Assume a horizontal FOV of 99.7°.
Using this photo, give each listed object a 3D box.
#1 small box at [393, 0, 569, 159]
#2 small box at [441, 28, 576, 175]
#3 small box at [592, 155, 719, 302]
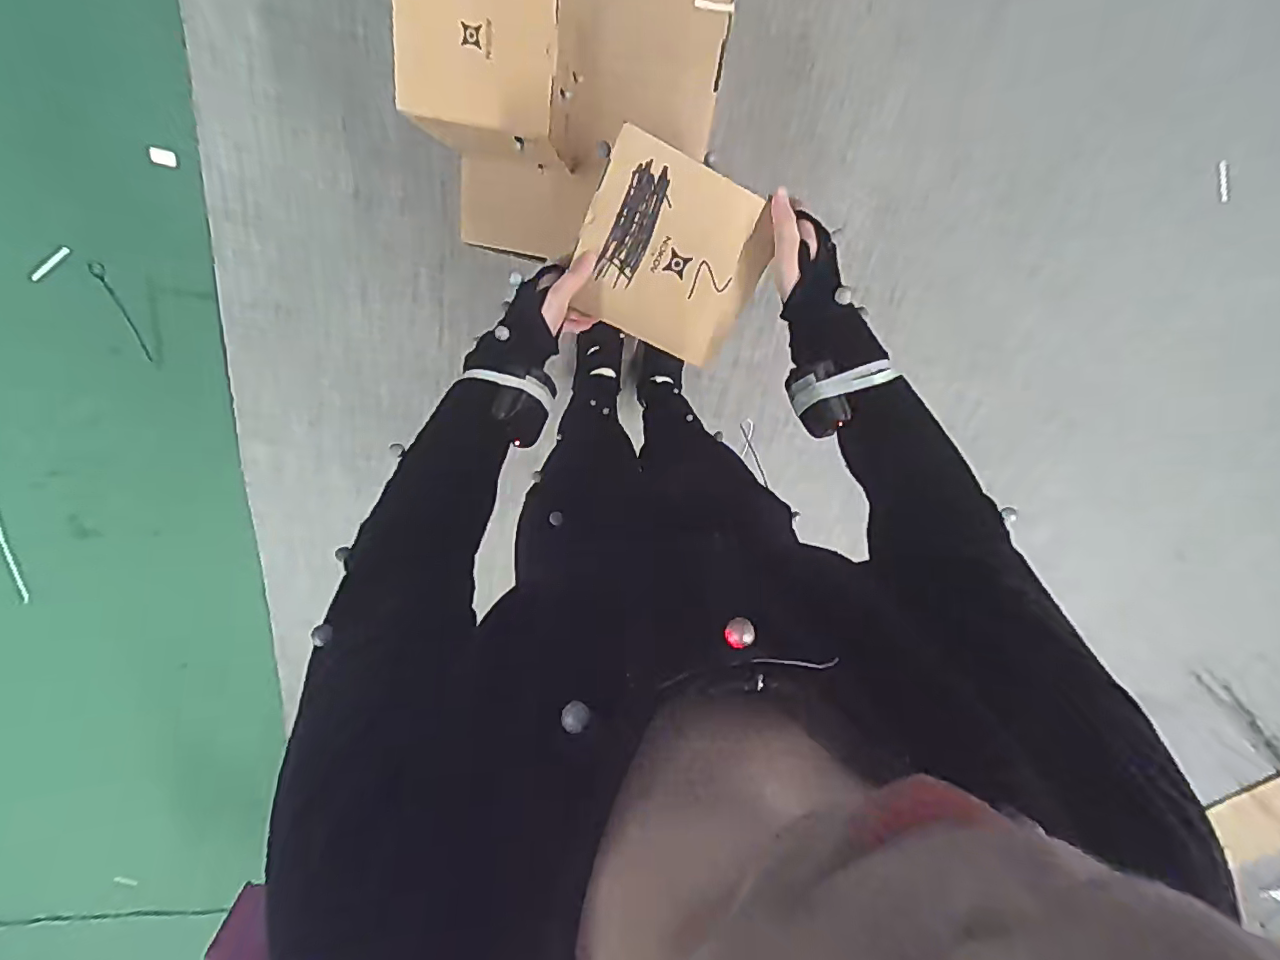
[{"bbox_3d":[-0.186,-0.511,0.666,0.179,0.176,0.168,6,112,-7],"label":"small box"},{"bbox_3d":[-0.191,-0.572,0.817,0.179,0.176,0.168,6,112,-6],"label":"small box"},{"bbox_3d":[0.015,-0.411,0.901,0.168,0.176,0.179,11,112,-9],"label":"small box"}]
